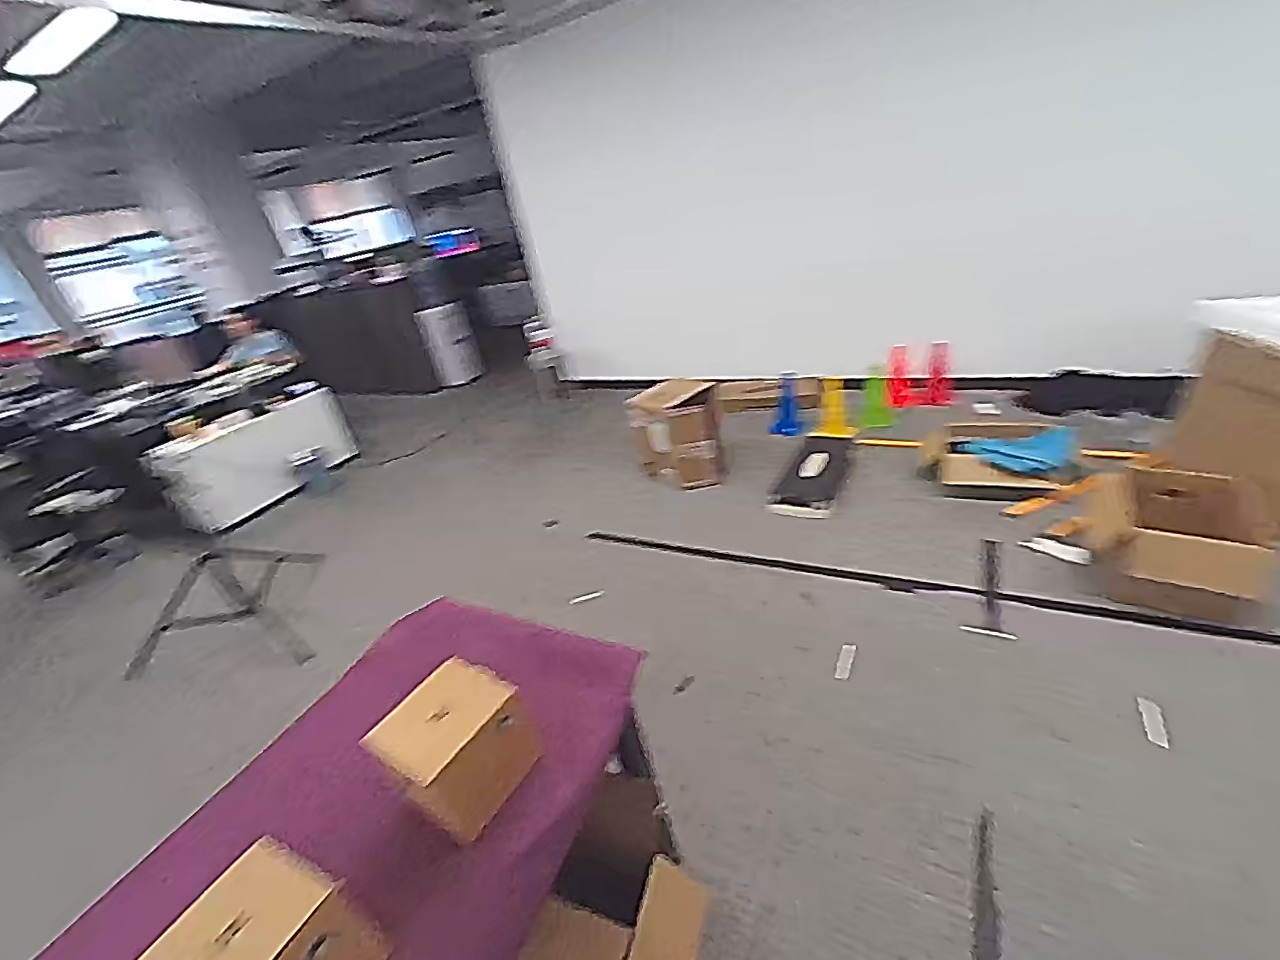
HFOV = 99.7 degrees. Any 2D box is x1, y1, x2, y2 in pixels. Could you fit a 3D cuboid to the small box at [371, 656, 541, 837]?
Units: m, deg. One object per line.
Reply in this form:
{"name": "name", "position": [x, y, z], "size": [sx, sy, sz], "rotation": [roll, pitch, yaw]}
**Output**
{"name": "small box", "position": [-0.289, 0.431, 0.882], "size": [0.168, 0.176, 0.179], "rotation": [9, 35, 34]}

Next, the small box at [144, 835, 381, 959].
{"name": "small box", "position": [-0.448, 0.590, 0.658], "size": [0.168, 0.176, 0.179], "rotation": [2, 32, 29]}
